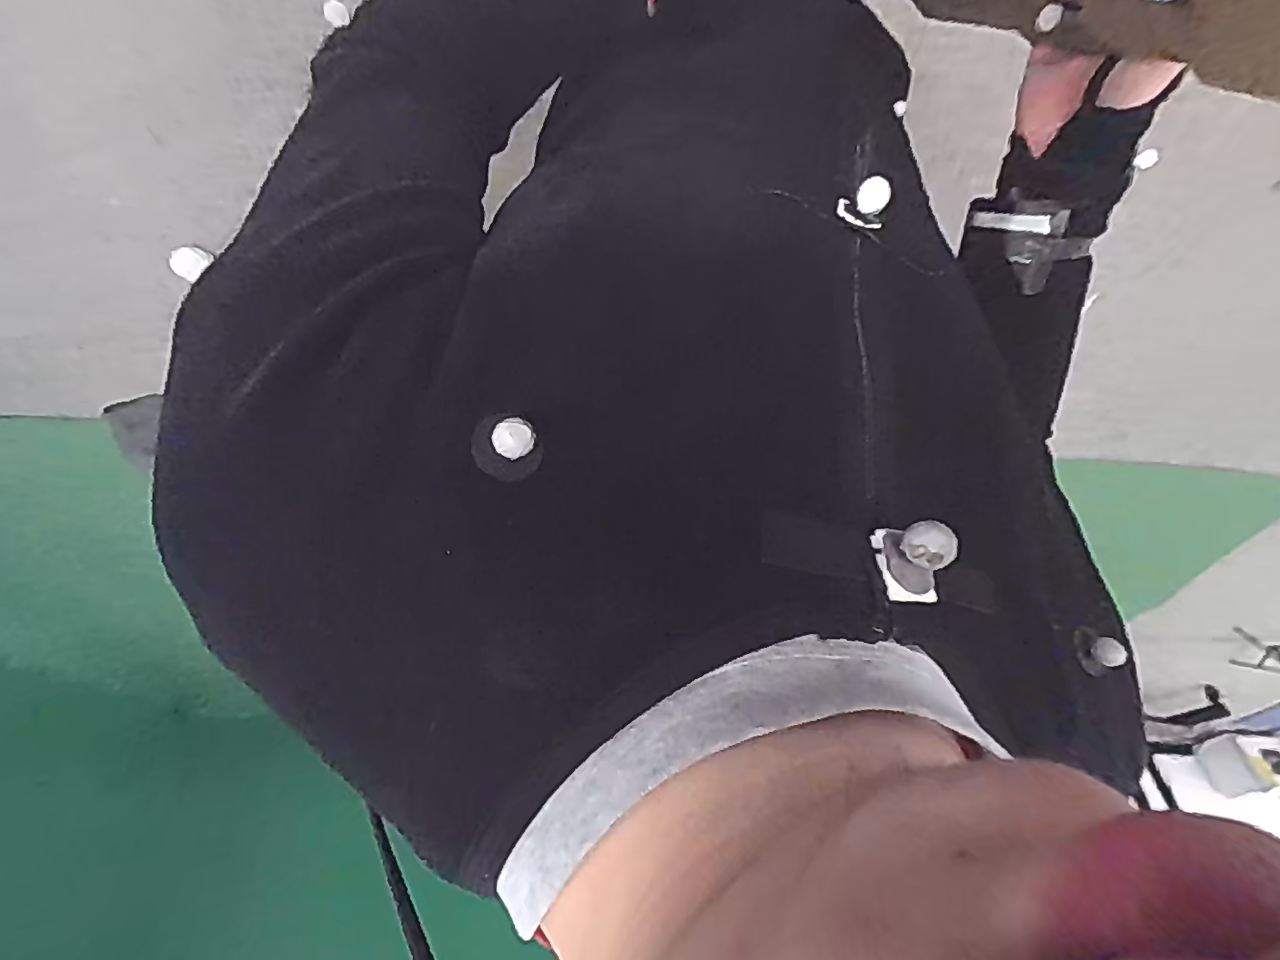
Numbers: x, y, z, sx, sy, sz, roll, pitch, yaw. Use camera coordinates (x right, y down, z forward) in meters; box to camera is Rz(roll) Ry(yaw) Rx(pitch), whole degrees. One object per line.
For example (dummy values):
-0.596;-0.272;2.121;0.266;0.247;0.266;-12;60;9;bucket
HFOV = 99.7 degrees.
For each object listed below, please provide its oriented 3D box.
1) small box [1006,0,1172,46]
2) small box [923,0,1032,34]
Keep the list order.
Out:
0.247;-0.328;0.231;0.168;0.176;0.179;23;127;-23;small box
0.247;-0.442;0.348;0.168;0.176;0.179;26;128;-23;small box
